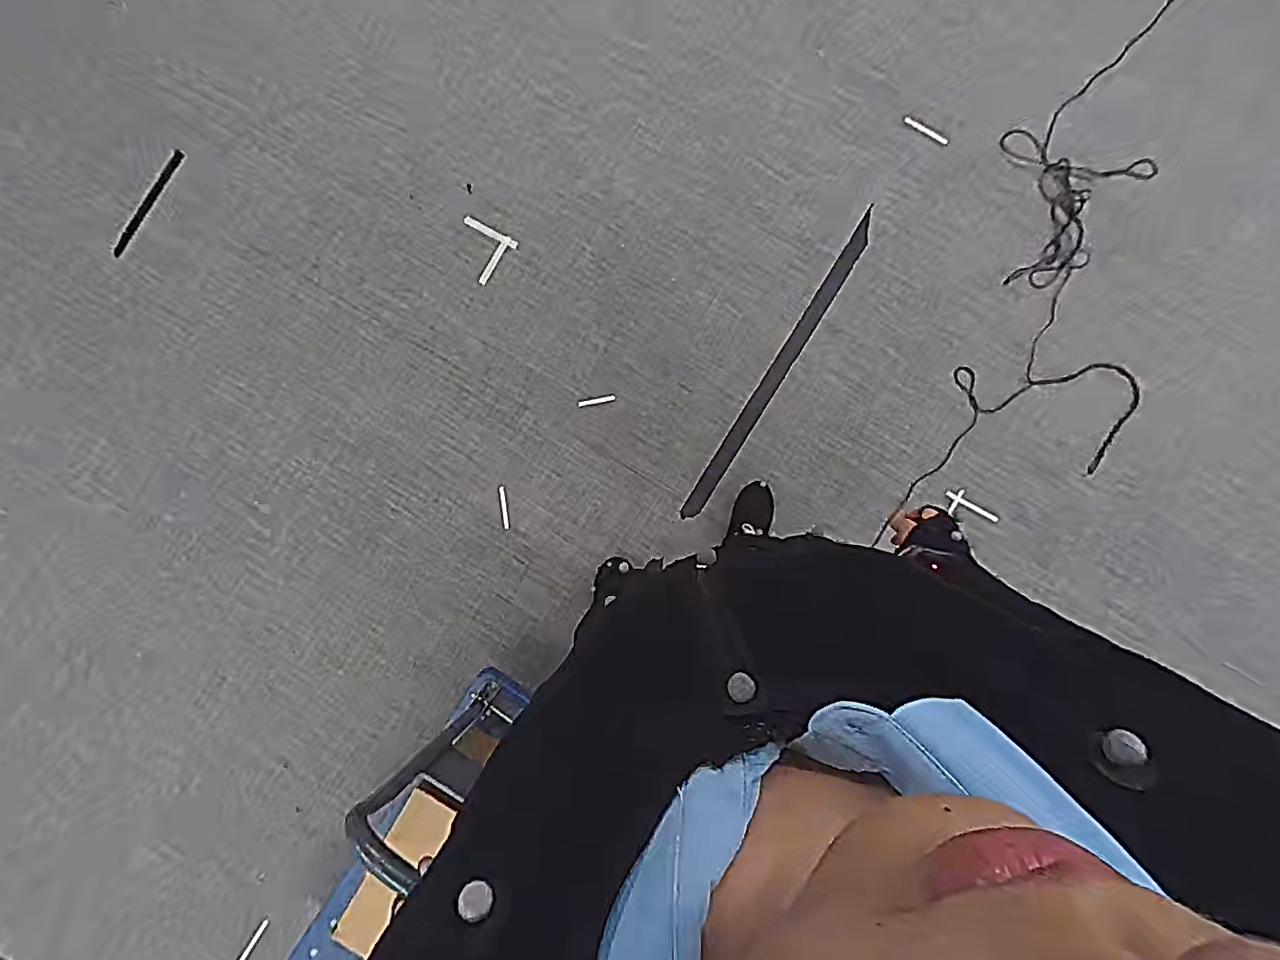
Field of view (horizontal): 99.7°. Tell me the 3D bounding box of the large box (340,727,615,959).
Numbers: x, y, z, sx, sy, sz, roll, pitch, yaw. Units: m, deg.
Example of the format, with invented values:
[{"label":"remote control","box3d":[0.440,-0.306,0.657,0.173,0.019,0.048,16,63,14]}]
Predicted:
[{"label":"large box","box3d":[-0.307,0.808,1.143,0.408,0.320,0.320,29,86,4]}]
